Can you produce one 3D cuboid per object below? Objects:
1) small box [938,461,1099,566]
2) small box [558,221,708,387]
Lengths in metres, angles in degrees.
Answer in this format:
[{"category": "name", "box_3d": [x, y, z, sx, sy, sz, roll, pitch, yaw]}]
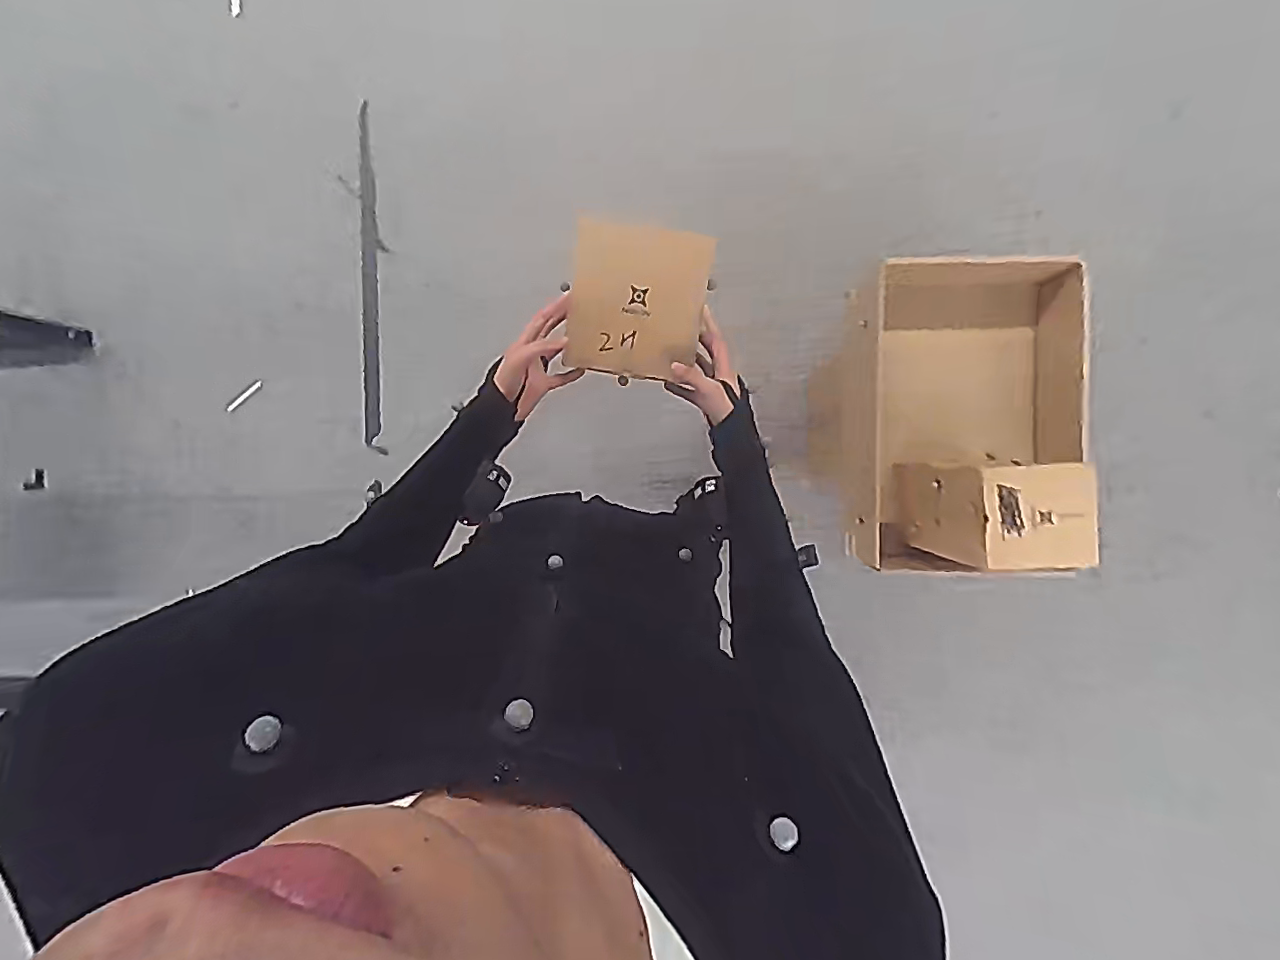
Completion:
[{"category": "small box", "box_3d": [0.640, 0.053, 0.937, 0.179, 0.176, 0.168, -3, 92, 3]}, {"category": "small box", "box_3d": [-0.014, -0.227, 0.734, 0.168, 0.176, 0.179, 7, 102, -4]}]
